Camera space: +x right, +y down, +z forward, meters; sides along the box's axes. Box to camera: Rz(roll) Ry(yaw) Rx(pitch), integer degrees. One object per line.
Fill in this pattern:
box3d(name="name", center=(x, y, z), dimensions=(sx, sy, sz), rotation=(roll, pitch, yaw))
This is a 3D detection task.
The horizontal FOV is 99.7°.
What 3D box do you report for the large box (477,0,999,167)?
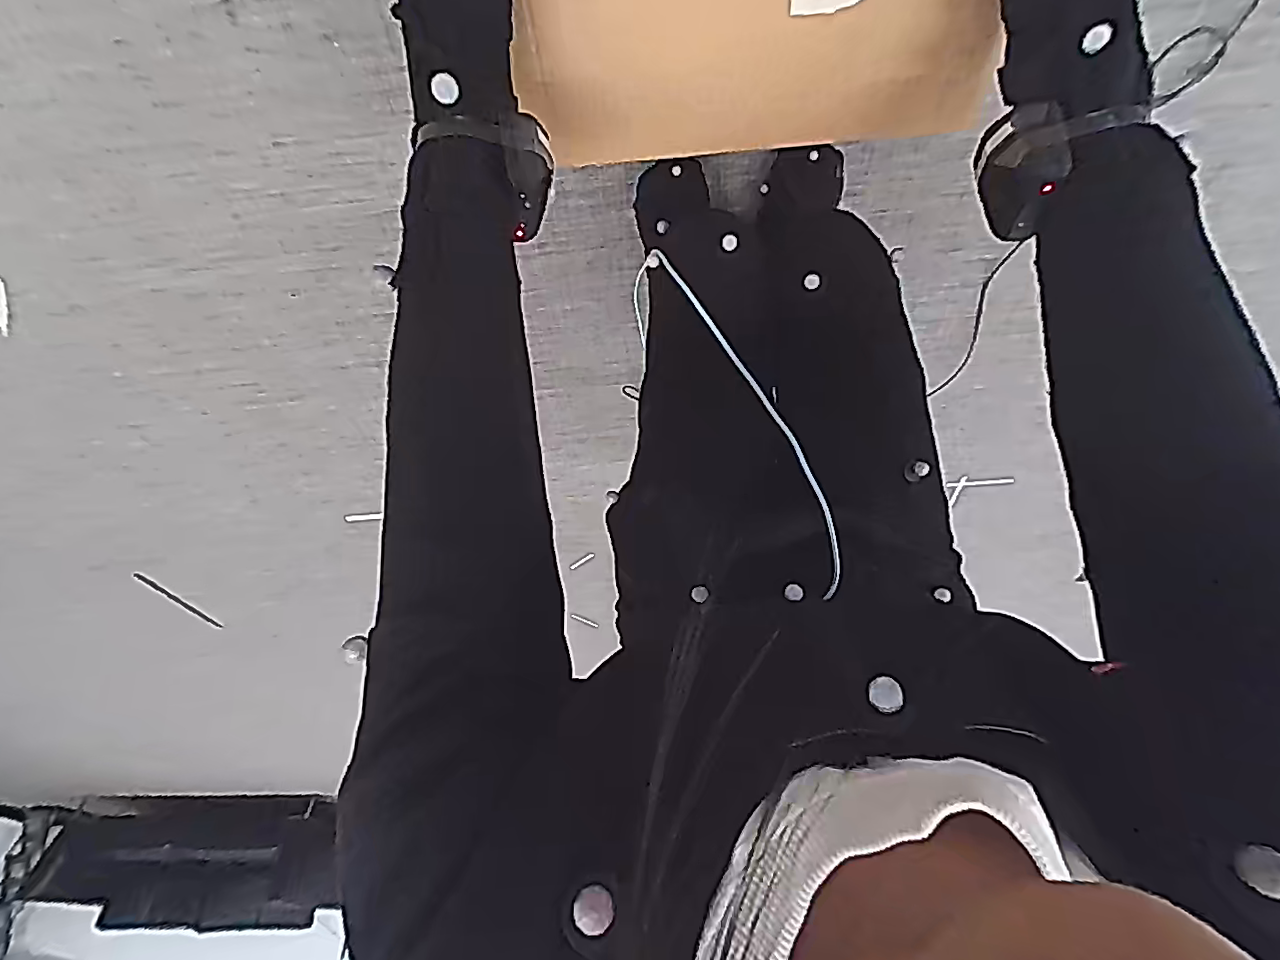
box3d(name="large box", center=(0.068, -0.512, 0.469), dimensions=(0.408, 0.320, 0.320), rotation=(-3, 138, 4))
